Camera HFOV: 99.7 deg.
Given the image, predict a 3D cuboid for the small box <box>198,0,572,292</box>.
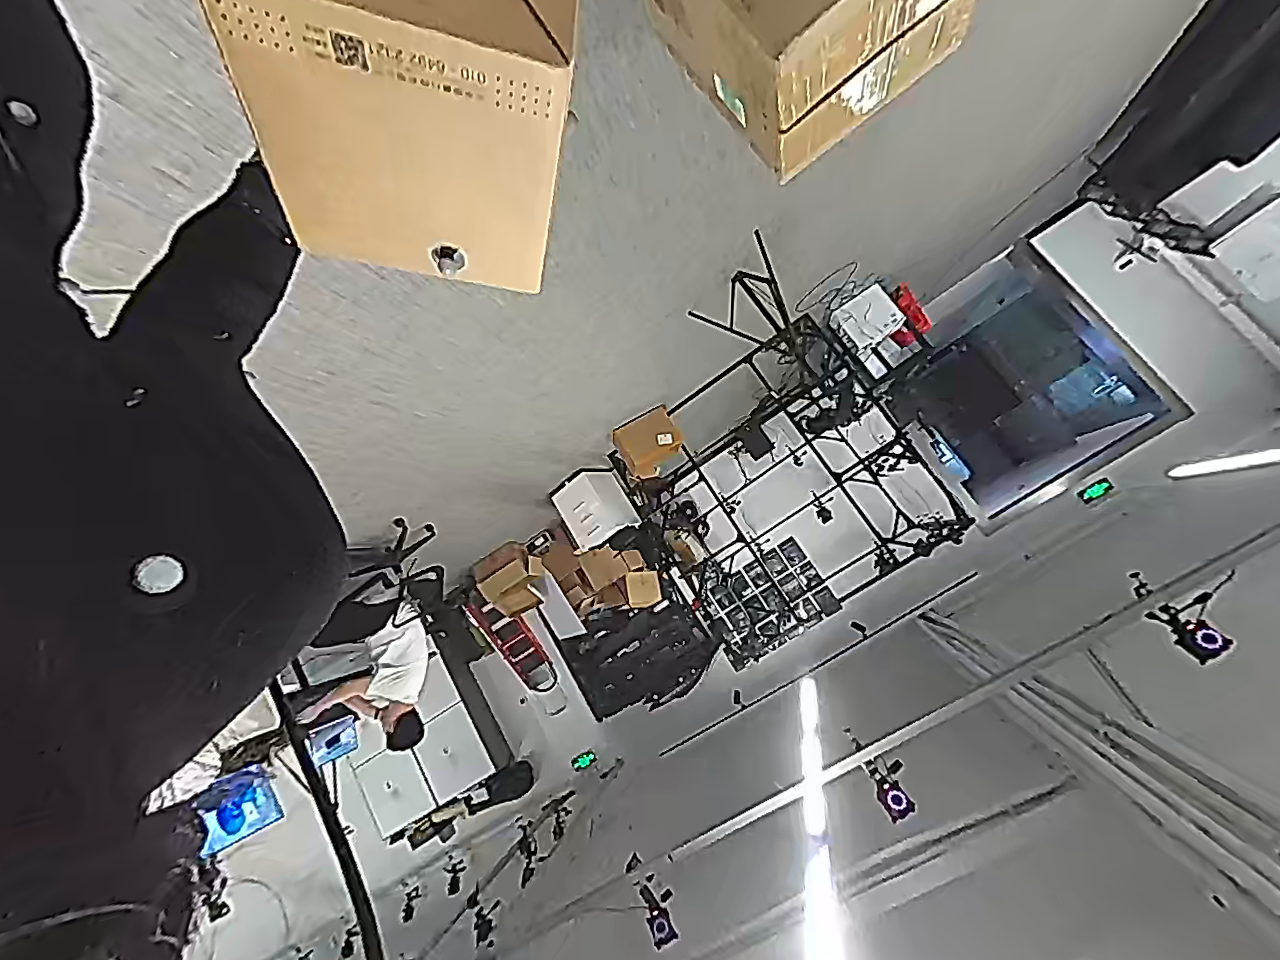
[{"bbox_3d":[-0.135,-0.257,0.344,0.168,0.179,0.176,6,157,-13],"label":"small box"}]
